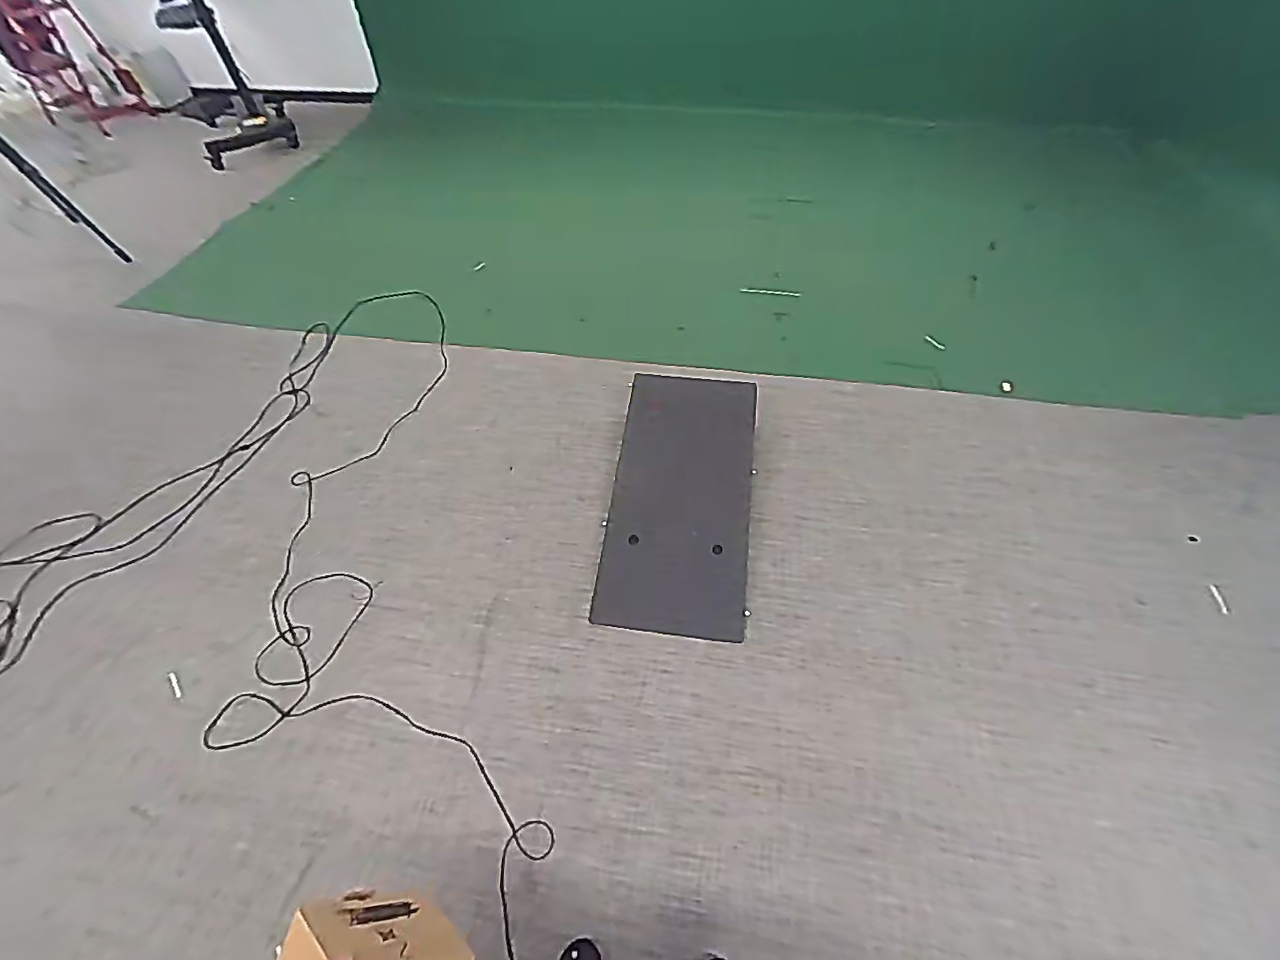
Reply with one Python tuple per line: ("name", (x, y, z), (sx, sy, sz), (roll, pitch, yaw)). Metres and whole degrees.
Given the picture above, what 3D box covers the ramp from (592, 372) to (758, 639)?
("ramp", (0.155, 0.031, 1.914), (0.509, 0.206, 0.991), (5, 53, 4))
